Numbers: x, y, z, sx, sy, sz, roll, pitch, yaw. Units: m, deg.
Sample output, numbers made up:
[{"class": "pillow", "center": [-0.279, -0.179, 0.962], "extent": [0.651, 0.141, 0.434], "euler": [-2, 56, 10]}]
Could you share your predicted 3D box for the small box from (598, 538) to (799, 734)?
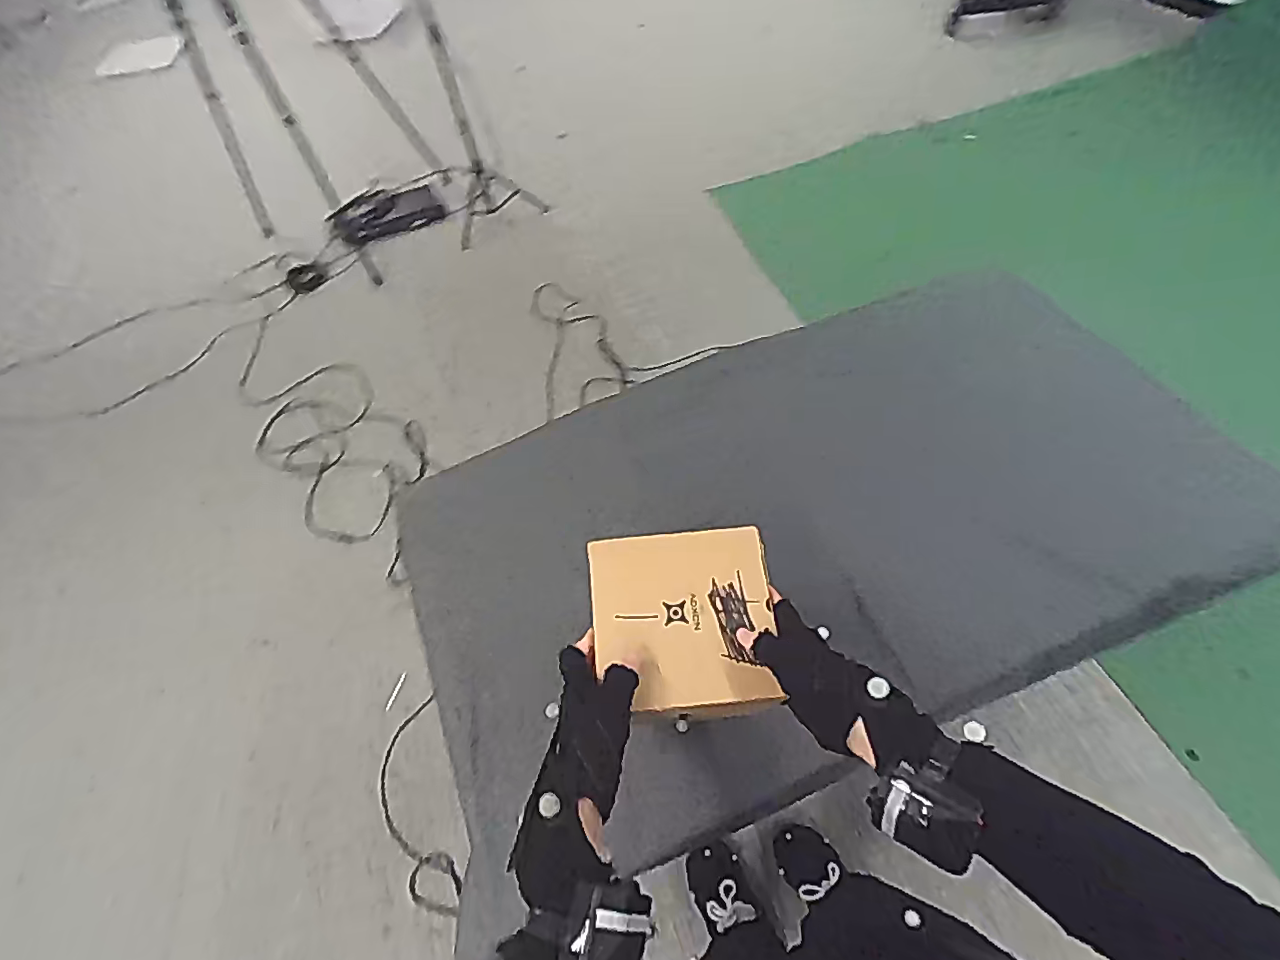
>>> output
[{"class": "small box", "center": [0.048, 0.172, 0.579], "extent": [0.179, 0.176, 0.168], "euler": [-4, 61, -2]}]
